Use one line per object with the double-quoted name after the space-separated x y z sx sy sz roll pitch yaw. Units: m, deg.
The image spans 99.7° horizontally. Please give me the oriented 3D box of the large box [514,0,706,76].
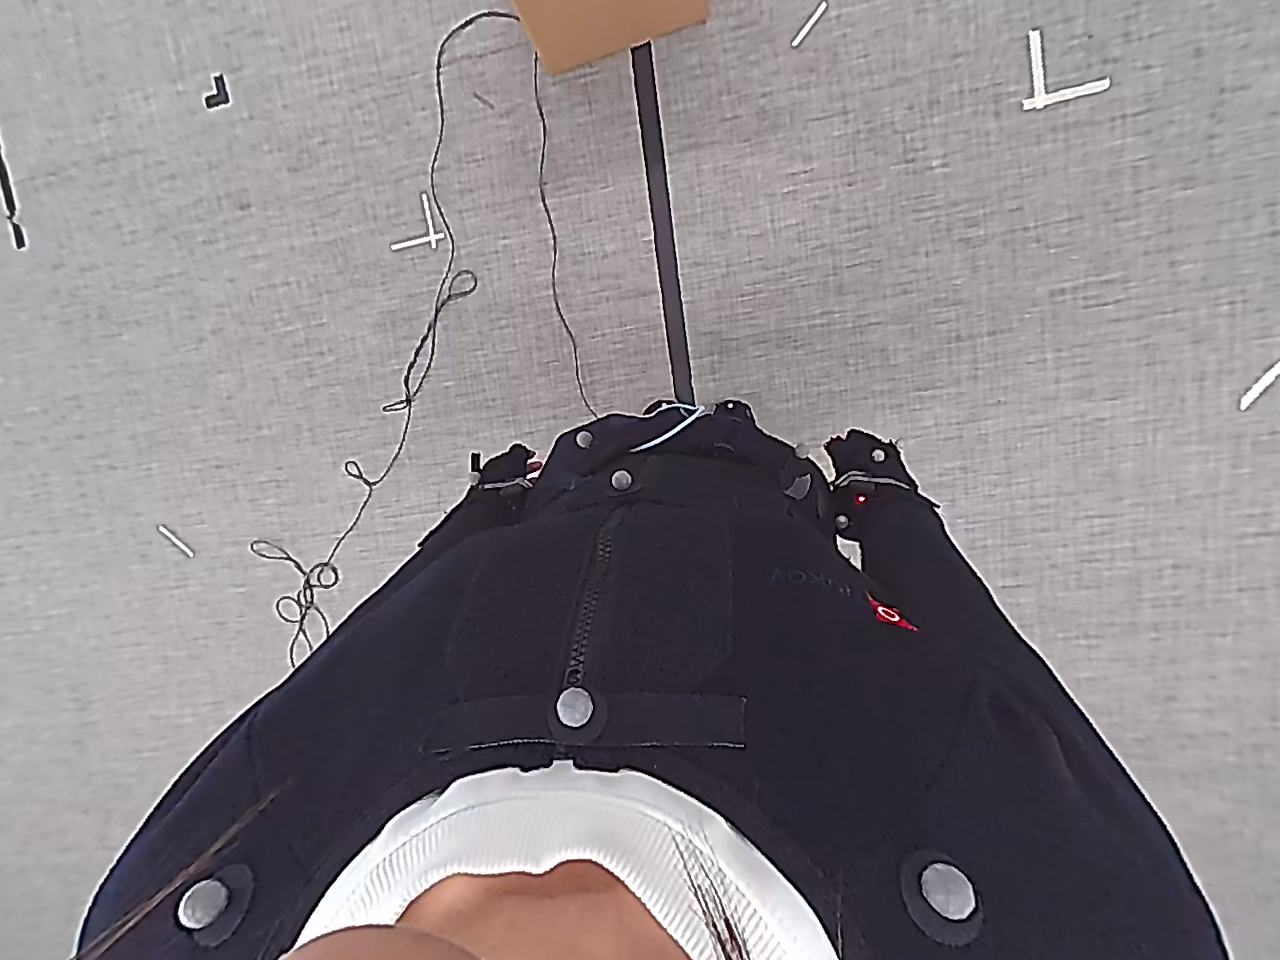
-0.089 -1.153 1.131 0.408 0.320 0.320 -14 98 8 "large box"
